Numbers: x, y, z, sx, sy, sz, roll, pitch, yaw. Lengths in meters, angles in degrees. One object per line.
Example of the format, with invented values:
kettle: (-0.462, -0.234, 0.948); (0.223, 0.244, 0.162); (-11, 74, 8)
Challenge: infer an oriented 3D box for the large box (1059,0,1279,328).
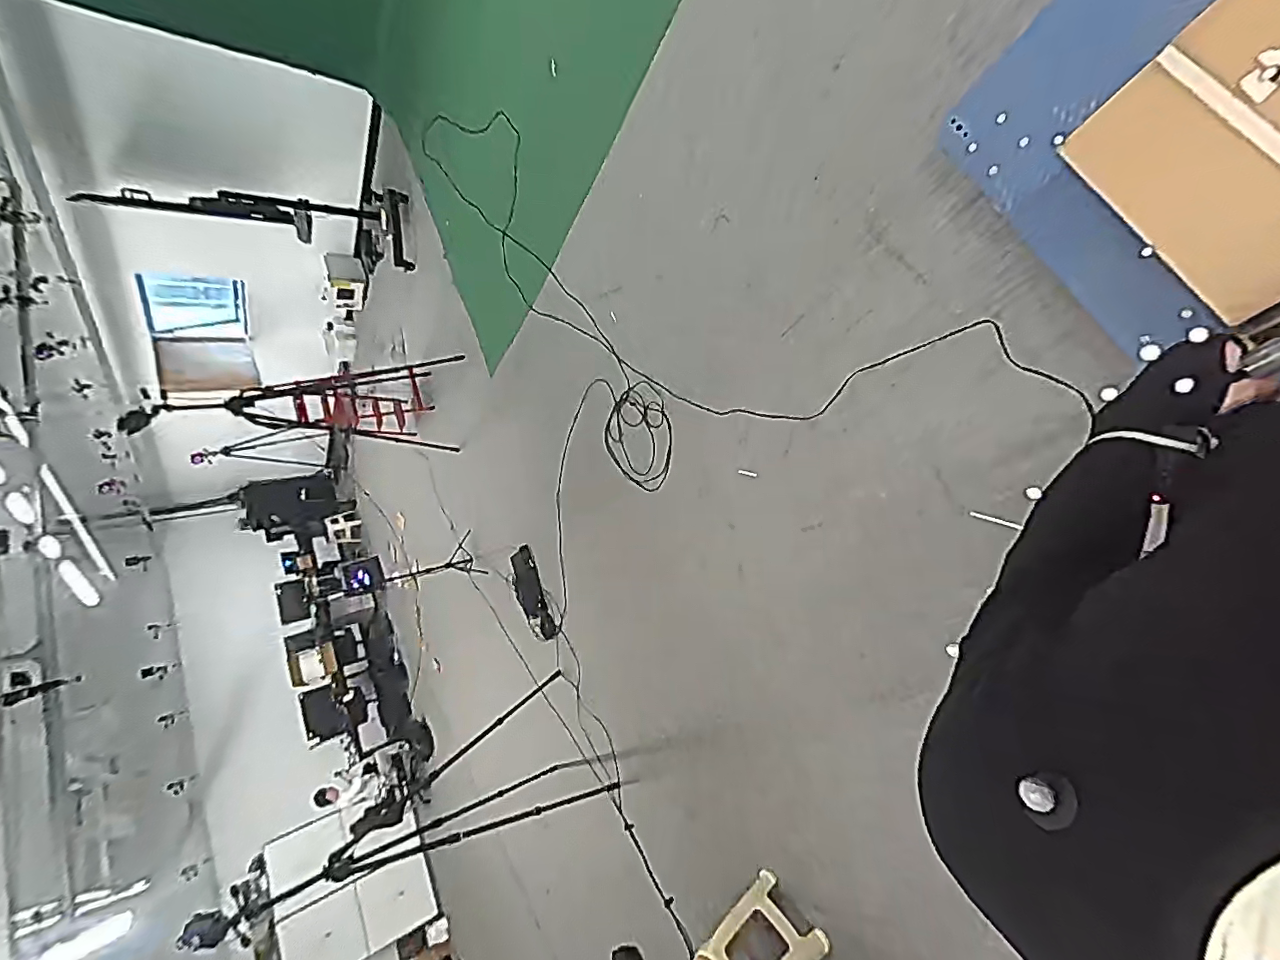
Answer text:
large box: (0.995, -0.497, 0.855); (0.320, 0.320, 0.408); (-45, 62, 45)
